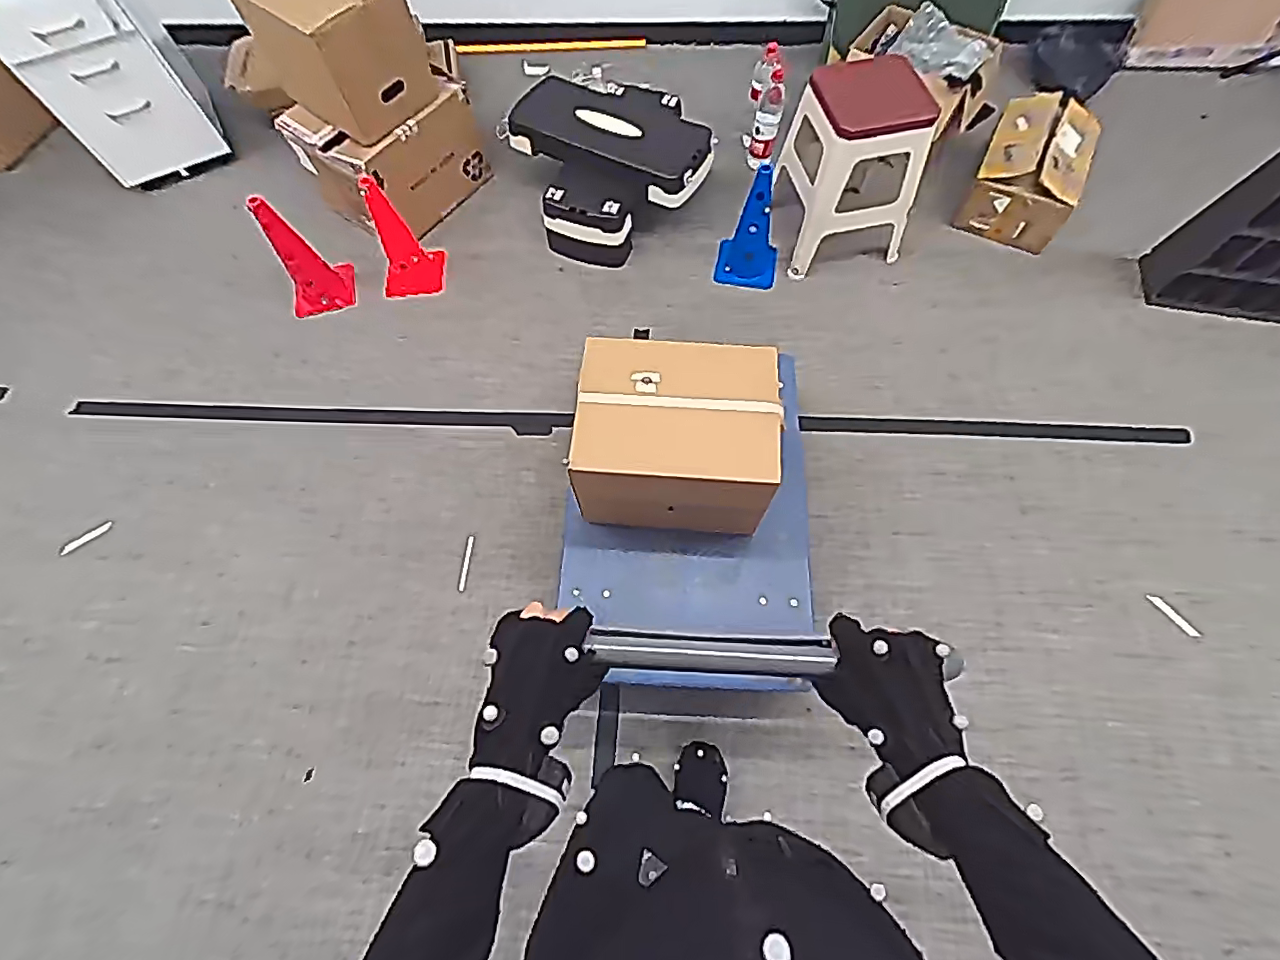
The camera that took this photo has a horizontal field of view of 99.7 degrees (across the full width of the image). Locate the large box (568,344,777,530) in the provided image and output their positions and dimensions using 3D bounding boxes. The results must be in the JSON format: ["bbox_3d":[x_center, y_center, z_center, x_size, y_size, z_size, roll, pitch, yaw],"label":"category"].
[{"bbox_3d":[0.076,-0.083,1.219,0.408,0.320,0.320,3,66,4],"label":"large box"}]
